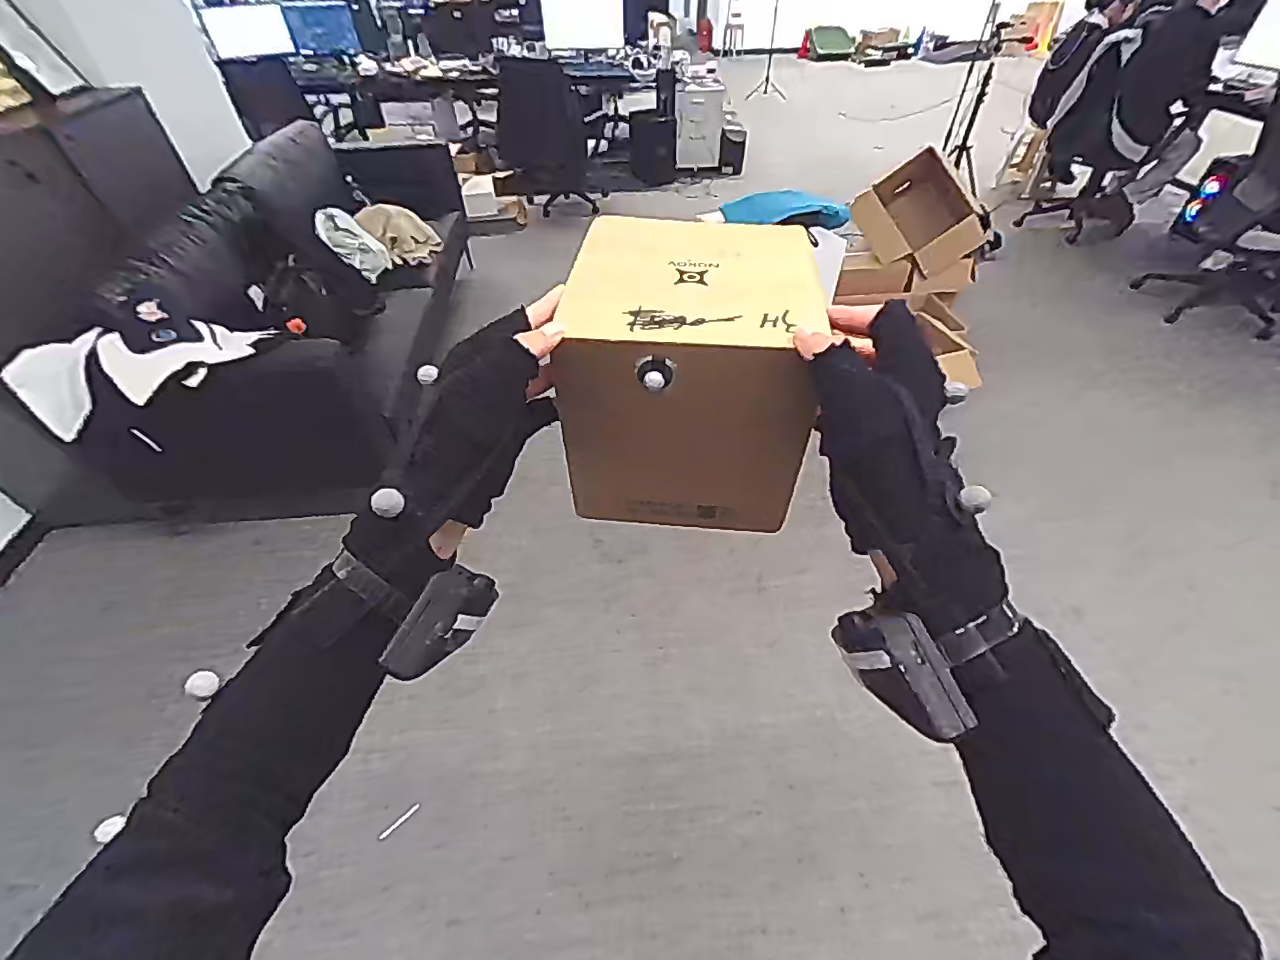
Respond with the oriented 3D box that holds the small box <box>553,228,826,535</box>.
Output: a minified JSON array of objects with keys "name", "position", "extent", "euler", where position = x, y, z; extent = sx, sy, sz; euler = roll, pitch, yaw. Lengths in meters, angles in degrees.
[{"name":"small box","position":[0.039,-0.080,0.432],"extent":[0.168,0.176,0.179],"euler":[4,46,6]}]
